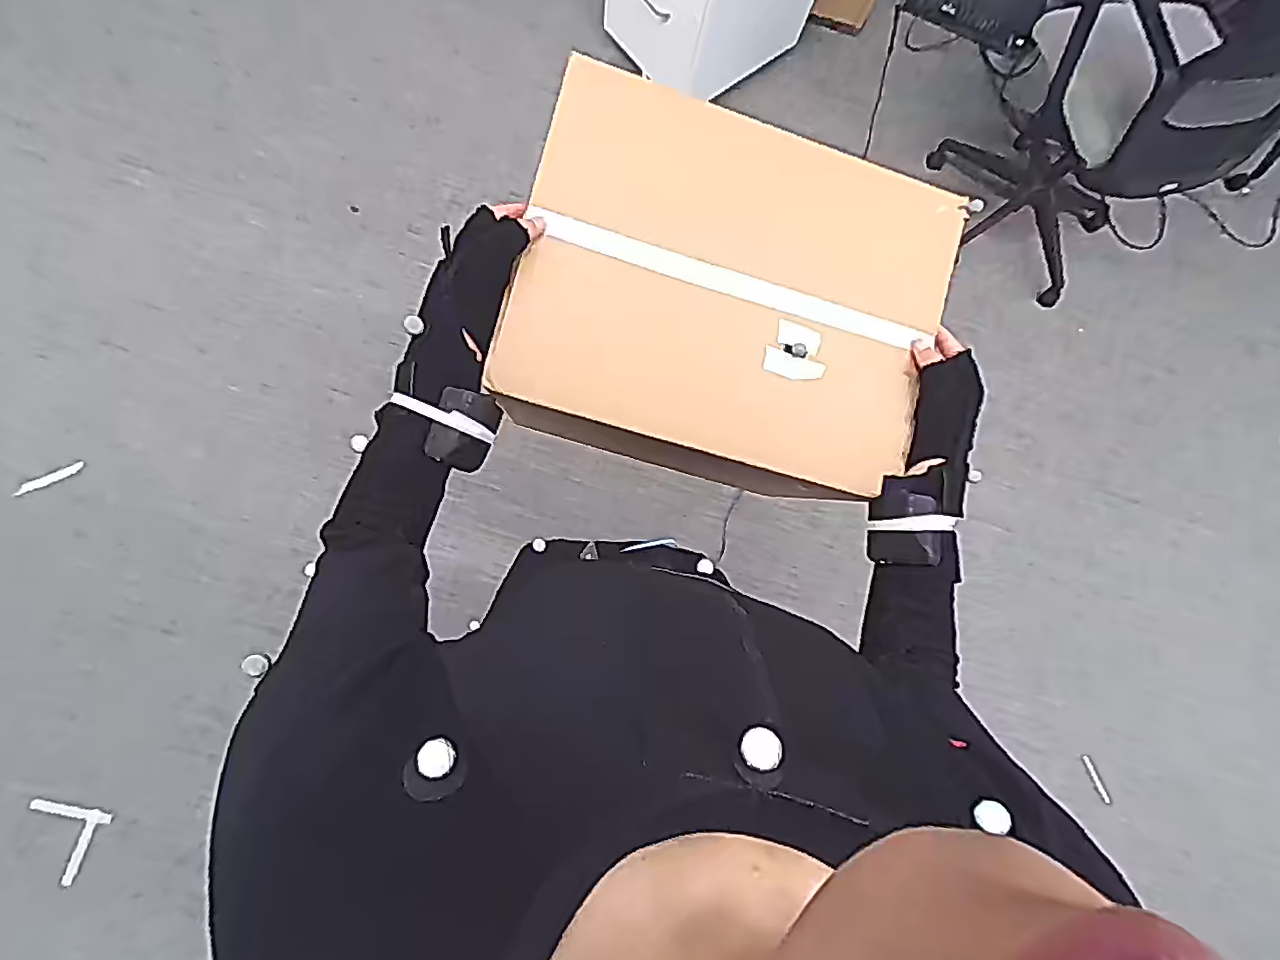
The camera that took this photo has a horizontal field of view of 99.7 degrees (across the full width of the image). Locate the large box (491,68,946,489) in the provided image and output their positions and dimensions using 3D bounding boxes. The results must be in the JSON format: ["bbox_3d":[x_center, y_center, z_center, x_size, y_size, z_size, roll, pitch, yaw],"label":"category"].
[{"bbox_3d":[0.064,-0.185,0.664,0.408,0.320,0.320,15,89,-9],"label":"large box"}]
